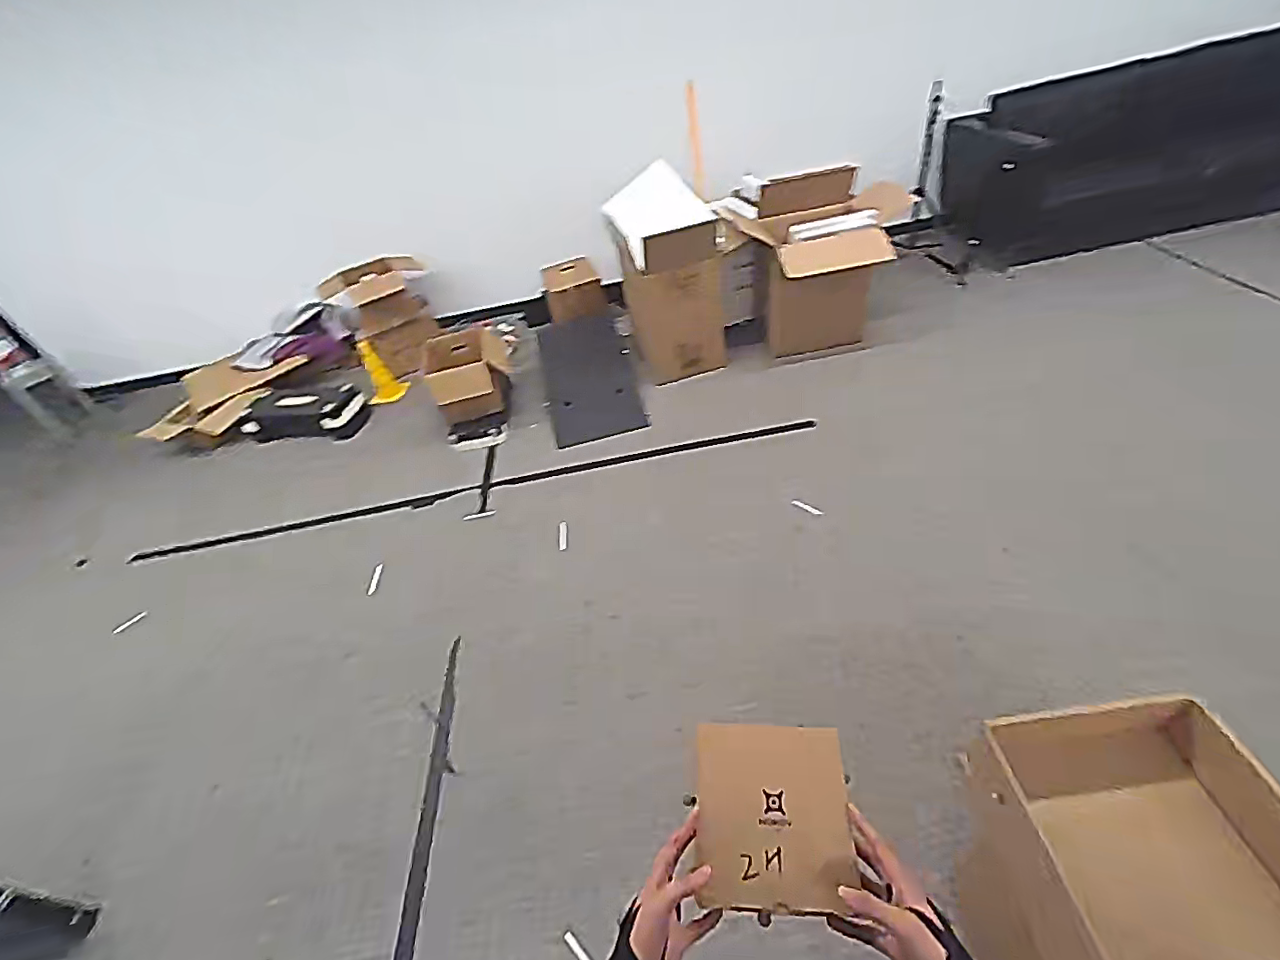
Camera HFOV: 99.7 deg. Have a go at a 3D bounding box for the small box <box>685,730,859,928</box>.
[{"bbox_3d":[0.141,0.415,0.648,0.168,0.176,0.179,1,54,3],"label":"small box"}]
